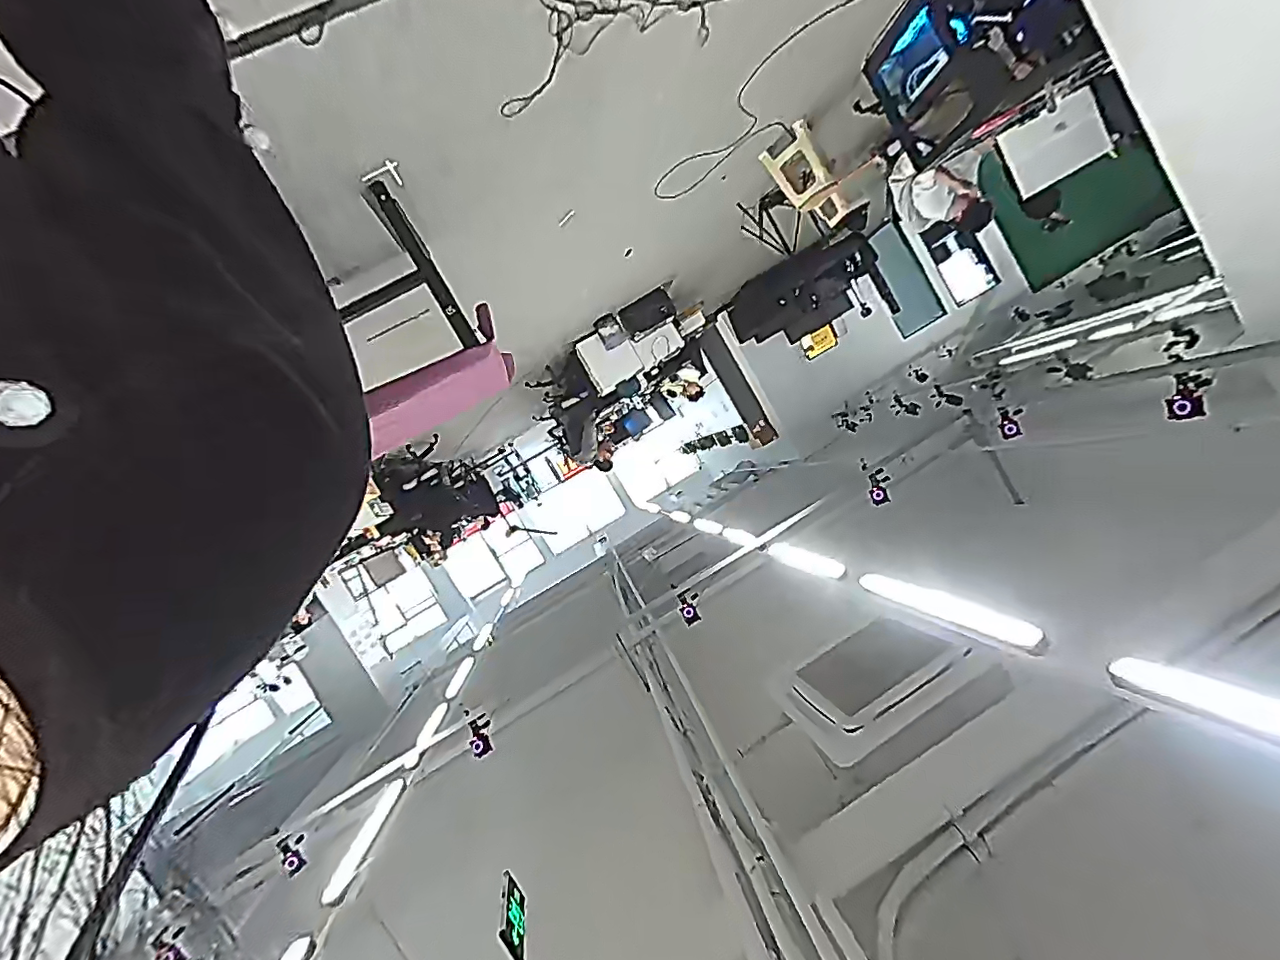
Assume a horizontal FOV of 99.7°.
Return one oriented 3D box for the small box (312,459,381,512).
[{"bbox_3d":[-1.250,0.021,2.310,0.168,0.176,0.179,-32,-178,-7],"label":"small box"}]
